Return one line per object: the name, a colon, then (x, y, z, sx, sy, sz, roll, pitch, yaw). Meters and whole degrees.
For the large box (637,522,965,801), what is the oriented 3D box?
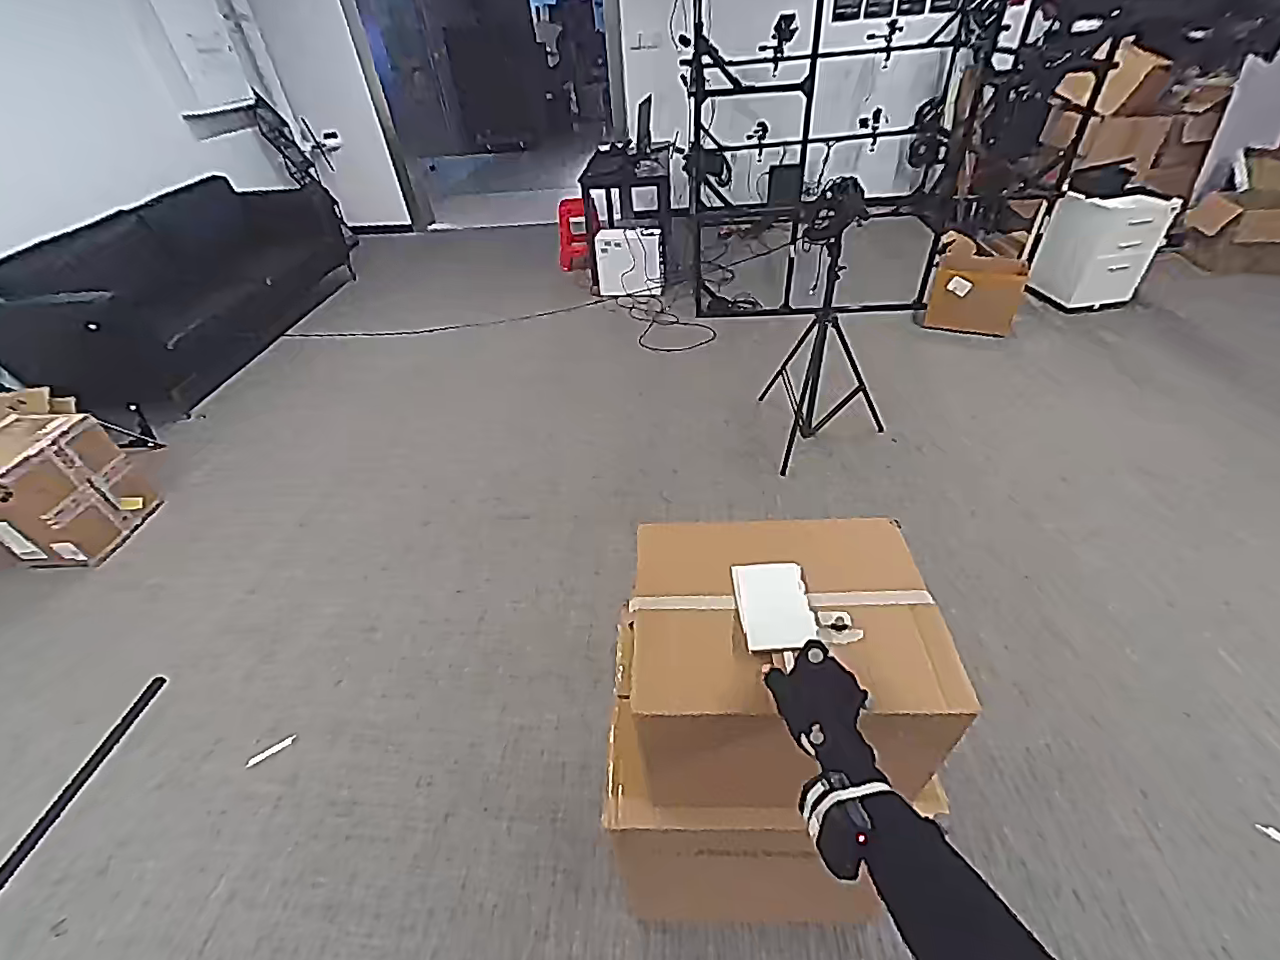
large box: (0.202, 0.287, 0.862, 0.408, 0.320, 0.320, -2, 42, 3)
